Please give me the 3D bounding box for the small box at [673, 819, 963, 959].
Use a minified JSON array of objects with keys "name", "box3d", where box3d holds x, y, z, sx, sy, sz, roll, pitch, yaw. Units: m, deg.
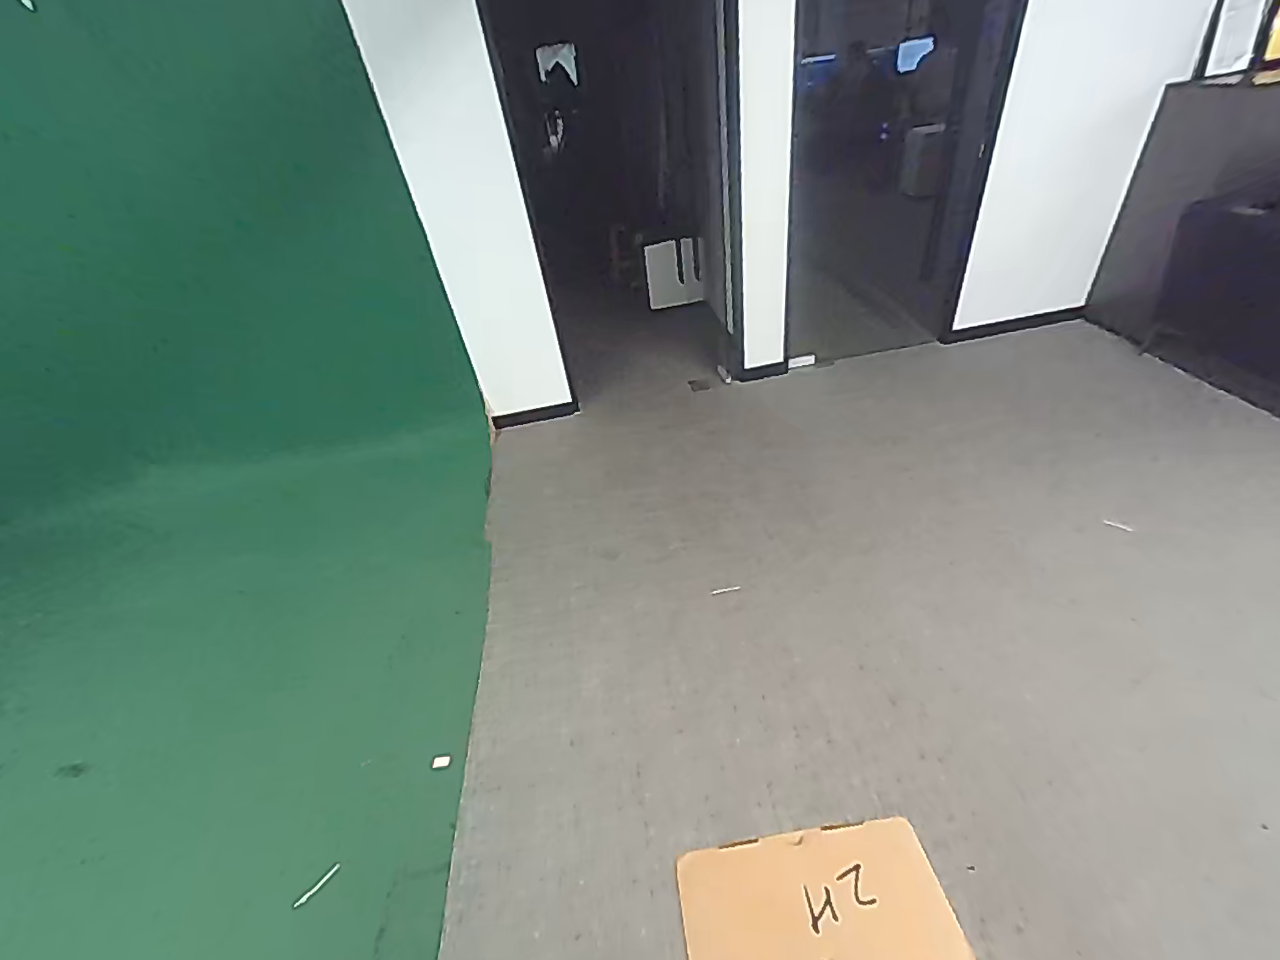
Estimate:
[{"name":"small box","box3d":[0.117,0.362,0.354,0.168,0.176,0.179,-7,34,-1]}]
